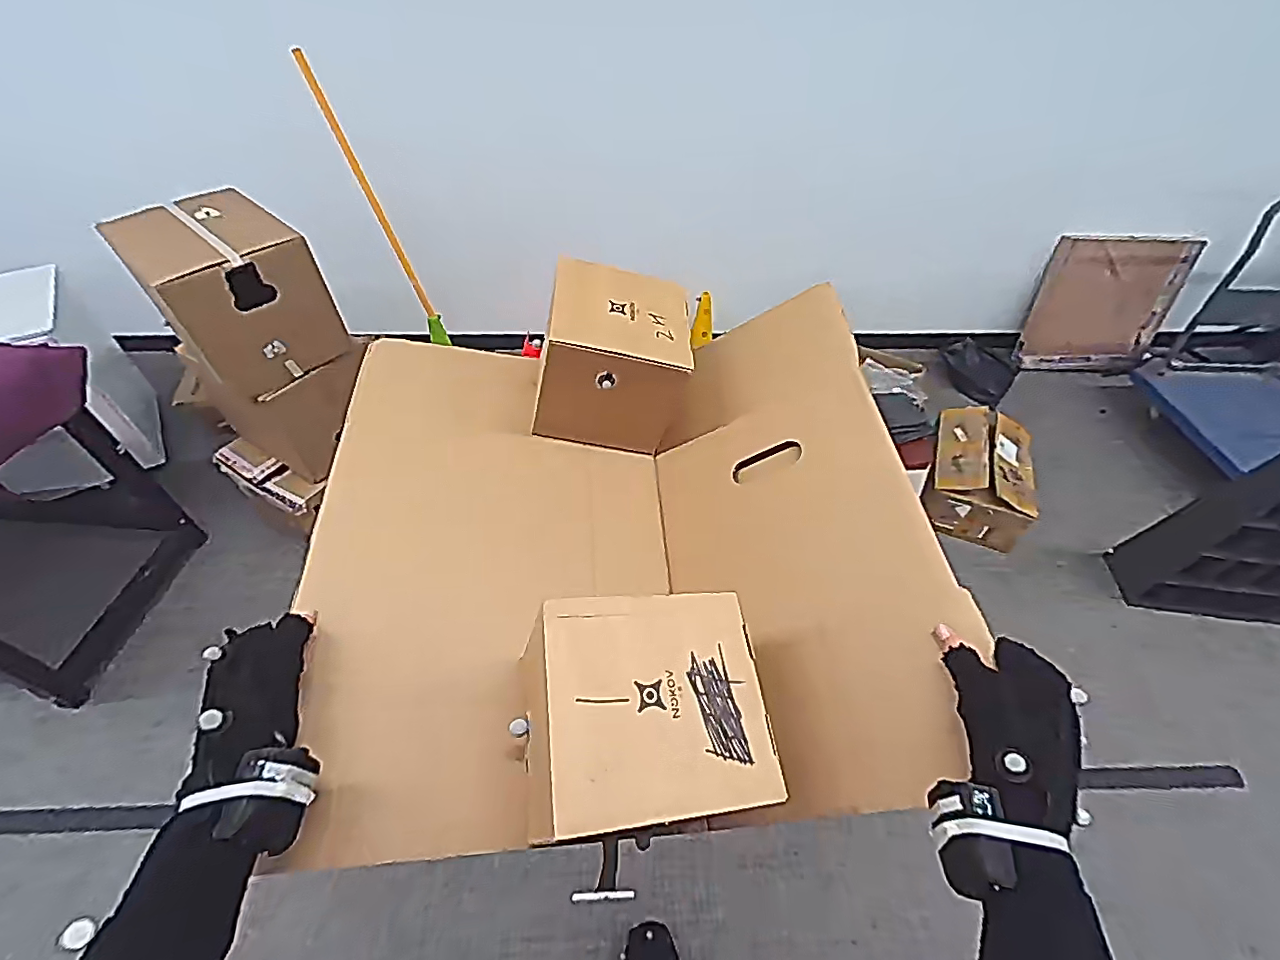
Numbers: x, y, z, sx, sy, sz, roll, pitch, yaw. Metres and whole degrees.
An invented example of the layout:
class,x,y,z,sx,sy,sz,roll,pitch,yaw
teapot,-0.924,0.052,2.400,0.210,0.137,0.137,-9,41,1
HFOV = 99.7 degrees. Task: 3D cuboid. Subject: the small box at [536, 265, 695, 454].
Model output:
class,x,y,z,sx,sy,sz,roll,pitch,yaw
small box,-0.039,-0.154,0.732,0.179,0.176,0.168,10,53,-13
